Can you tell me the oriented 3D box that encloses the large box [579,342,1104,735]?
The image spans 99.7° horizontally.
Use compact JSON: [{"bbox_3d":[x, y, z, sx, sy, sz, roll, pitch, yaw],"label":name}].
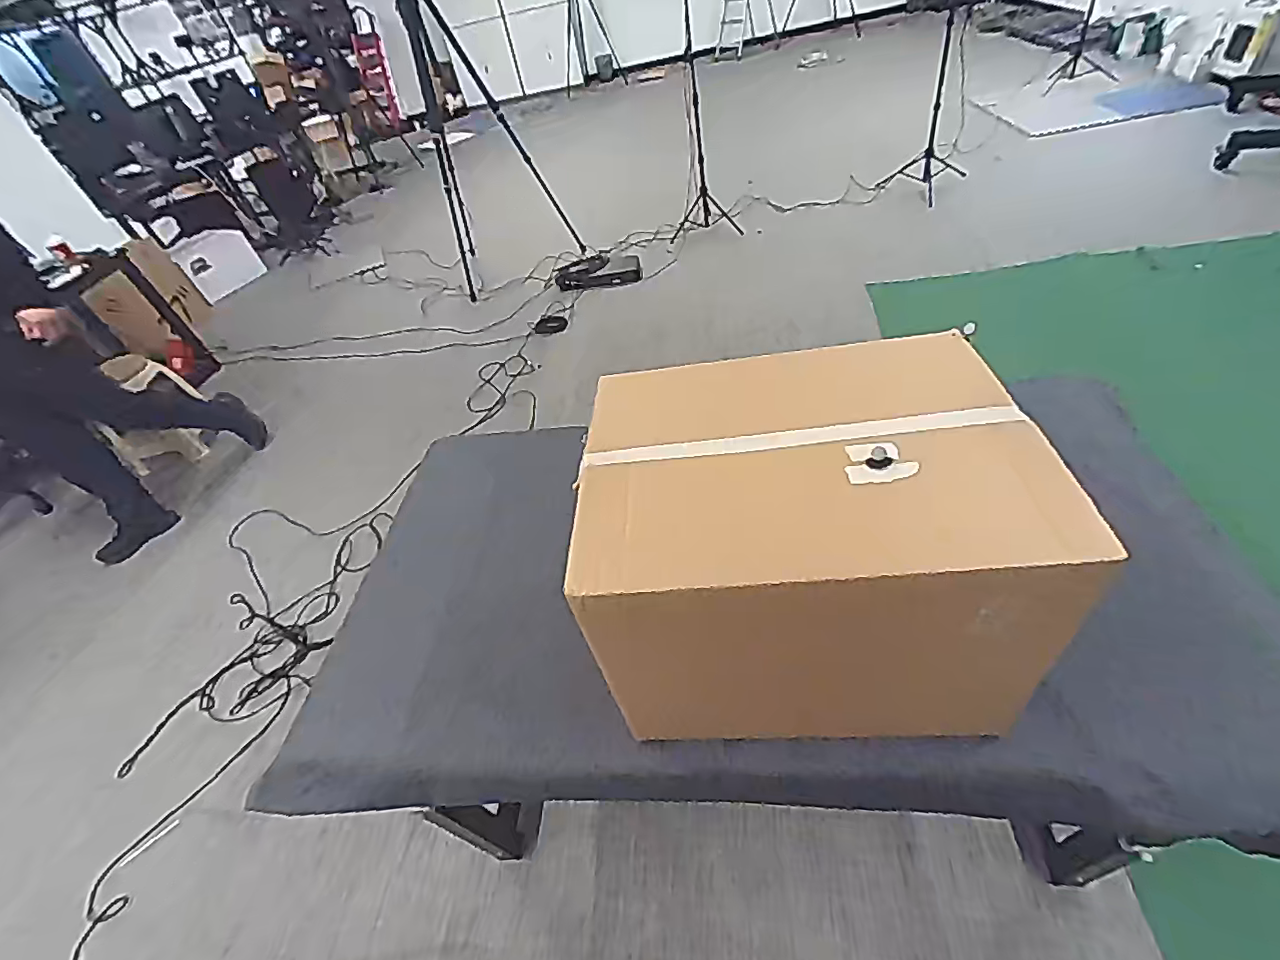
[{"bbox_3d":[0.170,0.075,0.623,0.408,0.320,0.320,-5,44,8],"label":"large box"}]
